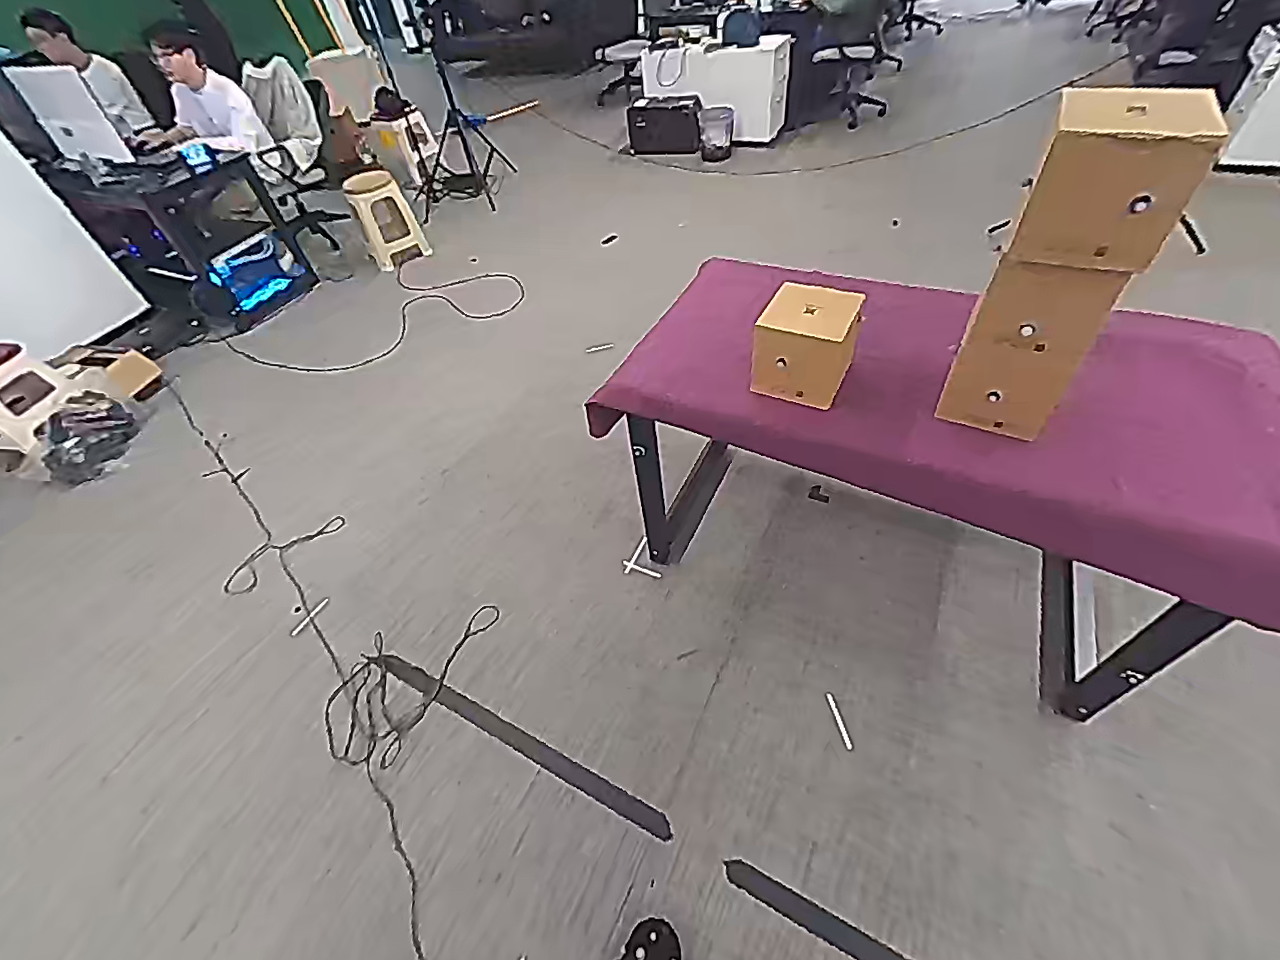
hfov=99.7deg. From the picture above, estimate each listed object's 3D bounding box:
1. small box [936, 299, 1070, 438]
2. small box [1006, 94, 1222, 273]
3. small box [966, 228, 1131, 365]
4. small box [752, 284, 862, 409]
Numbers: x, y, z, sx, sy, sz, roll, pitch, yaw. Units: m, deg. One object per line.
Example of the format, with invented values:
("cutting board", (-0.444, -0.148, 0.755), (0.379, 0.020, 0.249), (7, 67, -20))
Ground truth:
("small box", (0.667, -0.205, 0.997), (0.168, 0.176, 0.179), (21, 54, 24))
("small box", (0.629, -0.407, 0.743), (0.168, 0.176, 0.179), (18, 53, 21))
("small box", (0.655, -0.315, 0.876), (0.168, 0.176, 0.179), (20, 55, 24))
("small box", (0.335, -0.271, 1.104), (0.168, 0.176, 0.179), (19, 52, 22))
